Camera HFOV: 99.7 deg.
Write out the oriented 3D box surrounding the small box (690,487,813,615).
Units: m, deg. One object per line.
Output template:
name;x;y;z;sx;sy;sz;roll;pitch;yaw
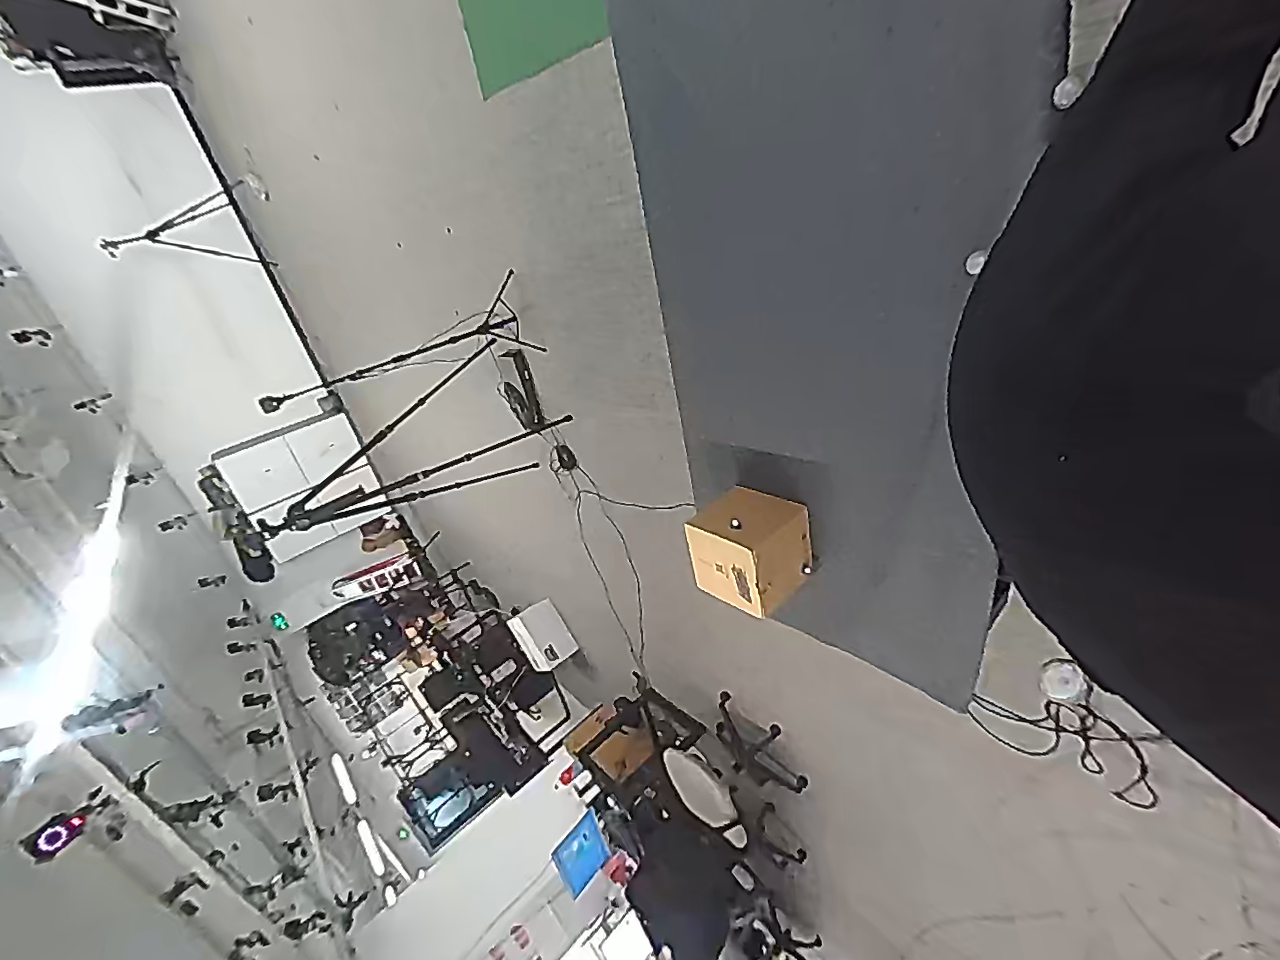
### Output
small box;0.232;0.131;1.085;0.179;0.176;0.168;19;131;48
